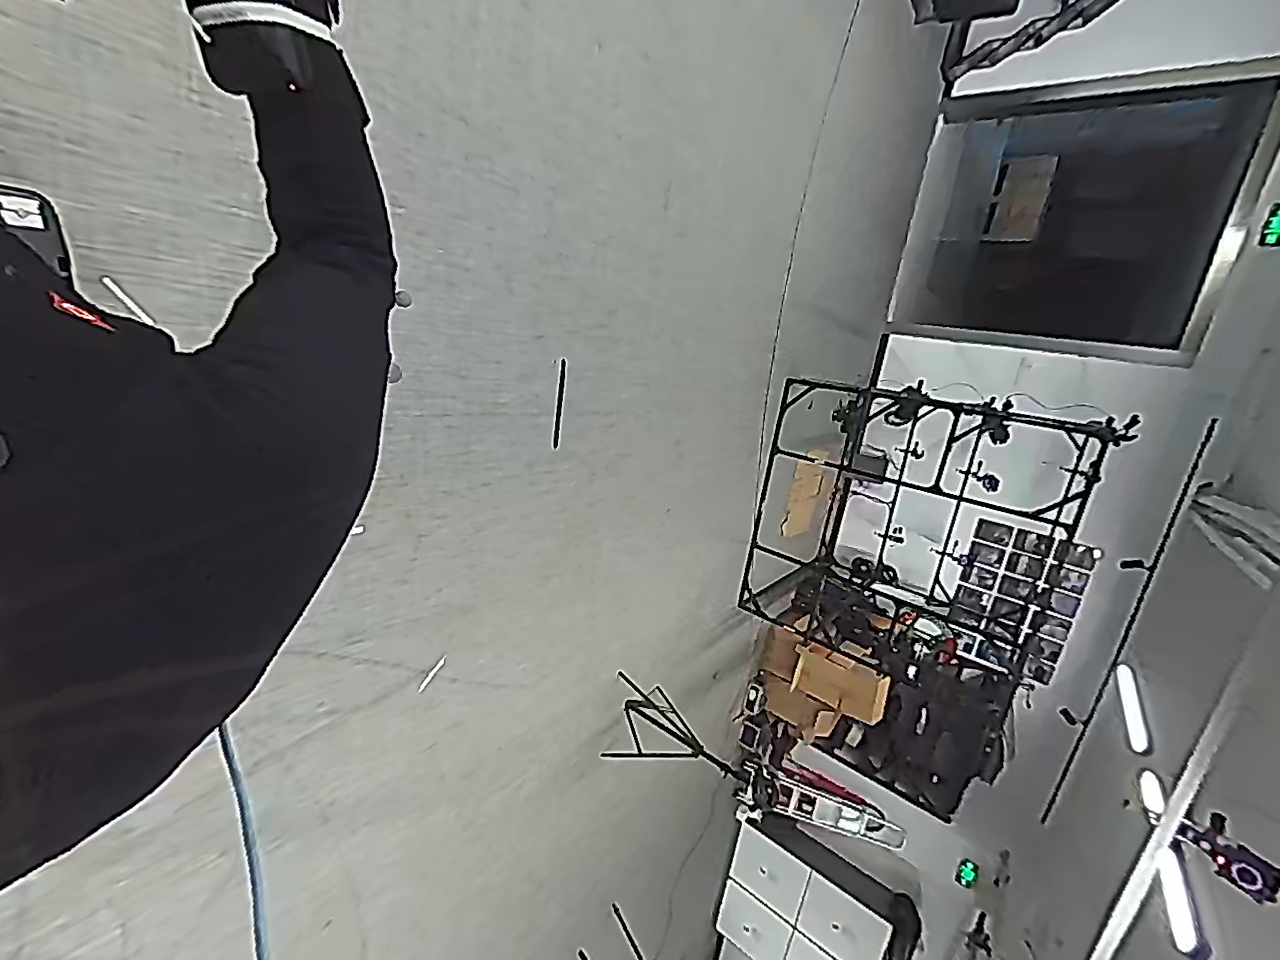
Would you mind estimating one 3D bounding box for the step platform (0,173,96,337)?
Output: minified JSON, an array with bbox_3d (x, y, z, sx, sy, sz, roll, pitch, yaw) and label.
[{"bbox_3d":[-1.322,-0.387,0.831,0.684,0.204,0.286,-14,117,-52],"label":"step platform"}]
